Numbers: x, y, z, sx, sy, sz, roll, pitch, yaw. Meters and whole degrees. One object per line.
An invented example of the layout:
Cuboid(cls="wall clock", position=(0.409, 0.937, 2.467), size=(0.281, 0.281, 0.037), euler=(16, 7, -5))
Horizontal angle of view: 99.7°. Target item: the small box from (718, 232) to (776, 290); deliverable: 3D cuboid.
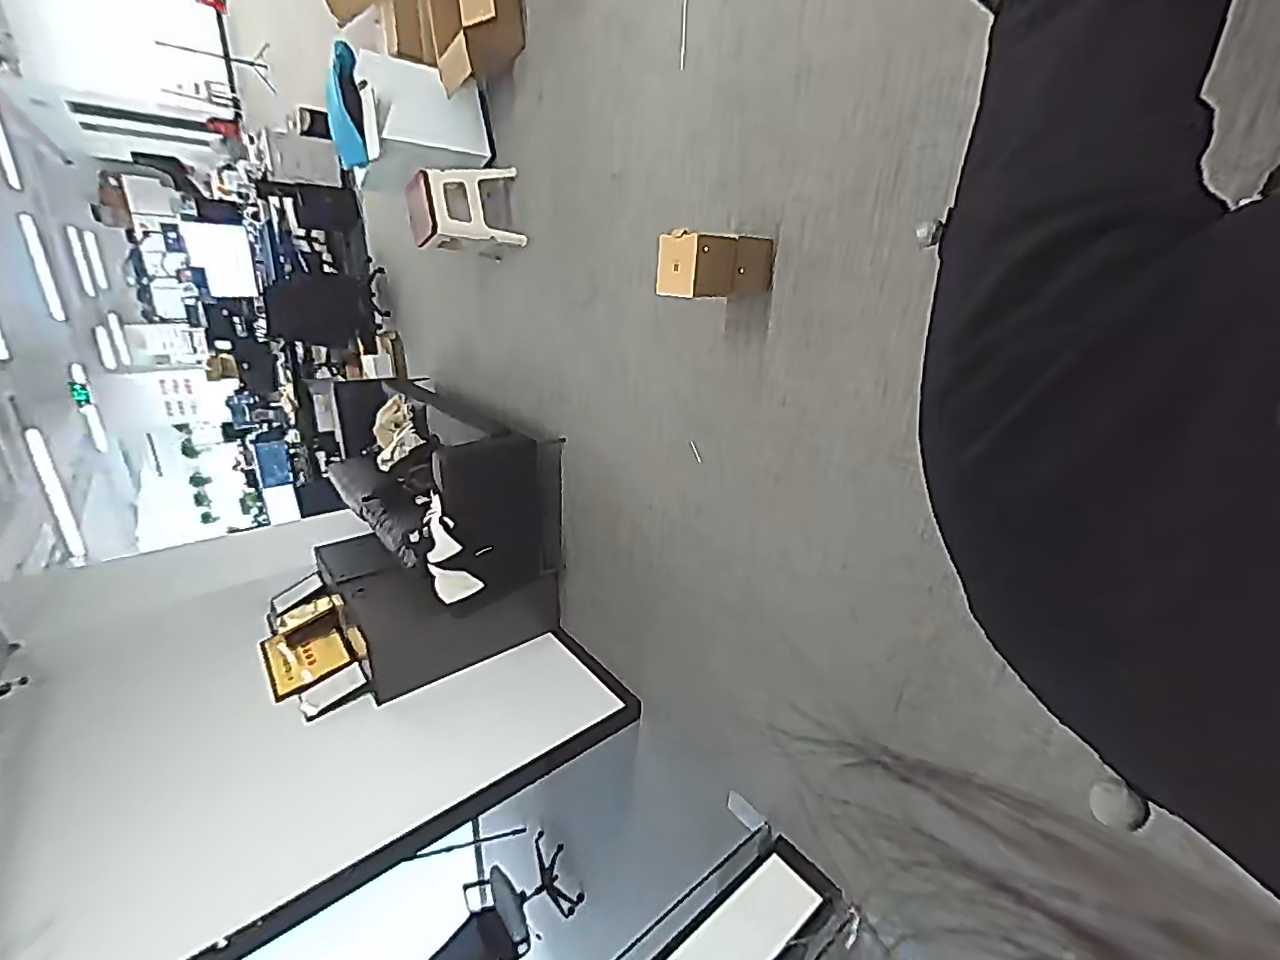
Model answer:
Cuboid(cls="small box", position=(0.308, -0.705, 1.745), size=(0.179, 0.176, 0.168), euler=(26, 121, 46))

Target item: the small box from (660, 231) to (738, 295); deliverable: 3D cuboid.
Cuboid(cls="small box", position=(0.180, -0.662, 1.653), size=(0.168, 0.176, 0.179), euler=(25, 120, 45))
